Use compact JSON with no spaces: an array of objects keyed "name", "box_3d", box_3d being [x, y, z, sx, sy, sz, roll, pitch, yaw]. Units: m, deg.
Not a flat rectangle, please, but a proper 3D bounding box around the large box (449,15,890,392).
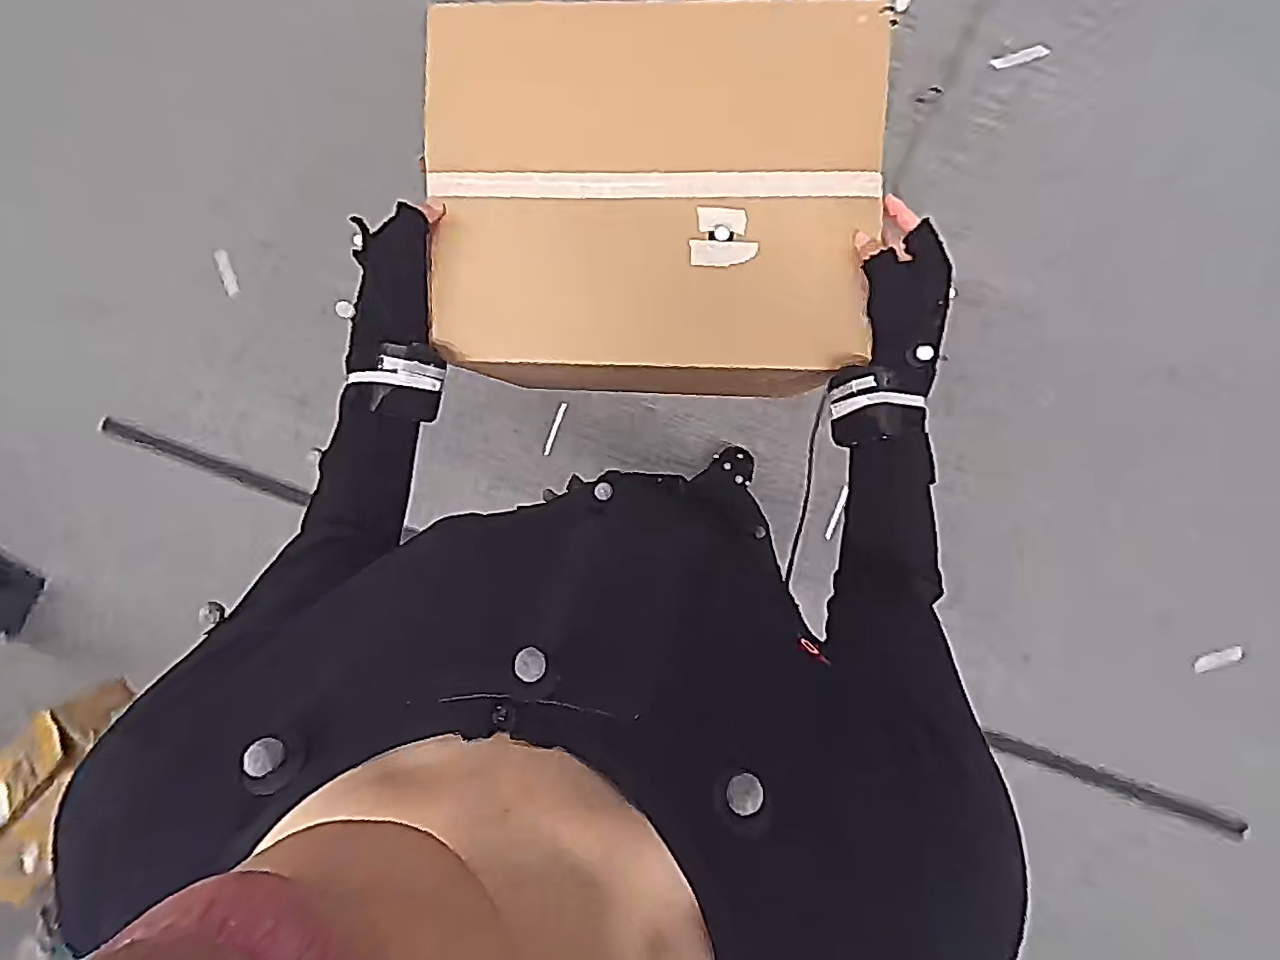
[{"name":"large box","box_3d":[0.025,-0.278,0.648,0.408,0.320,0.320,3,95,3]}]
